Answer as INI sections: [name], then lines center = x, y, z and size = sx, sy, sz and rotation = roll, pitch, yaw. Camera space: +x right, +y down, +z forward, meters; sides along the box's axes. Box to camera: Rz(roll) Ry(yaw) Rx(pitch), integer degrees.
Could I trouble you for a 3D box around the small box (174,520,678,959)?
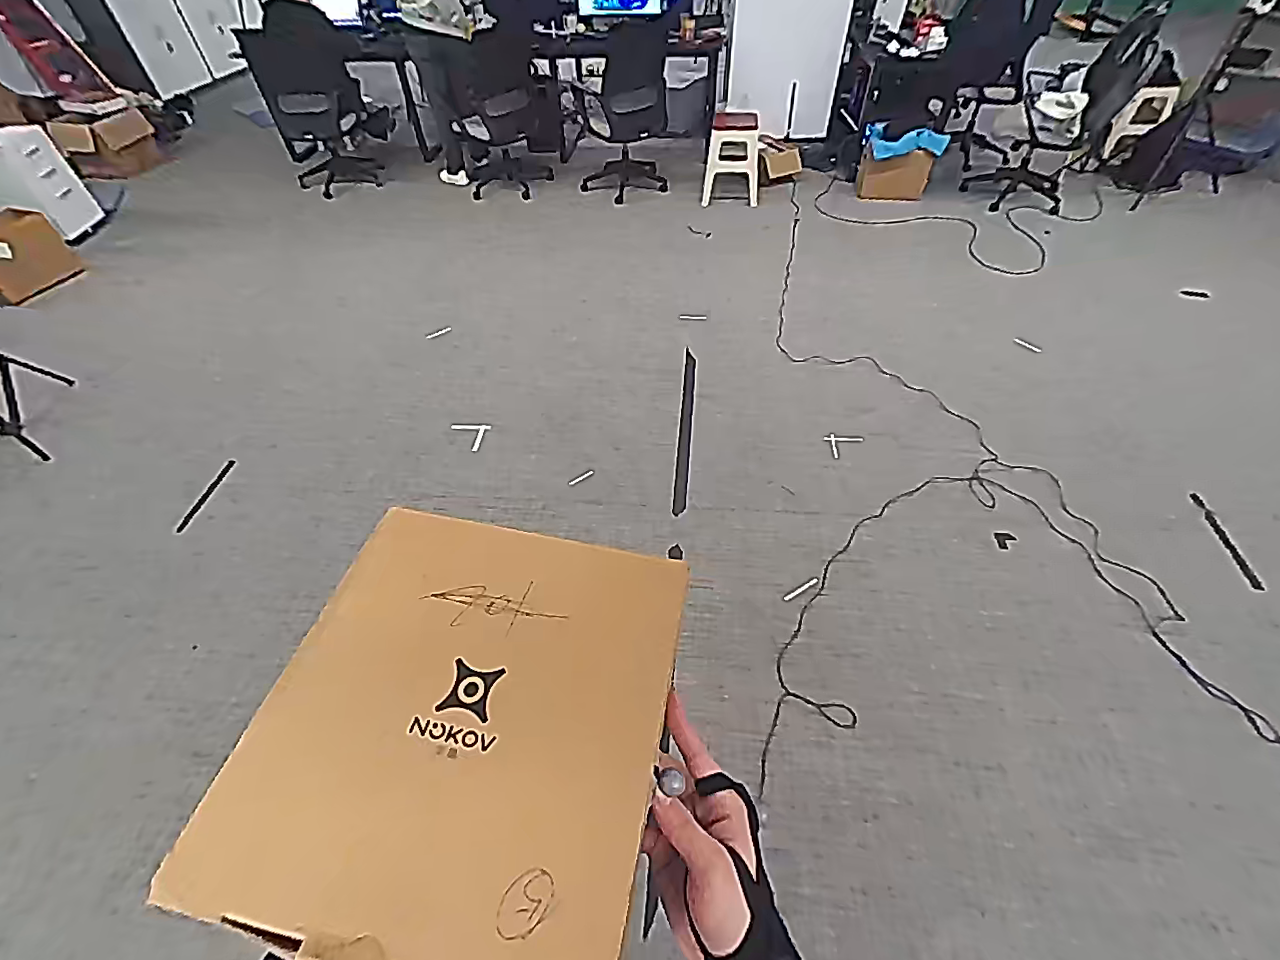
[small box]
center = -0.077, 0.152, 0.302
size = 0.168, 0.176, 0.179
rotation = 10, 50, 6
